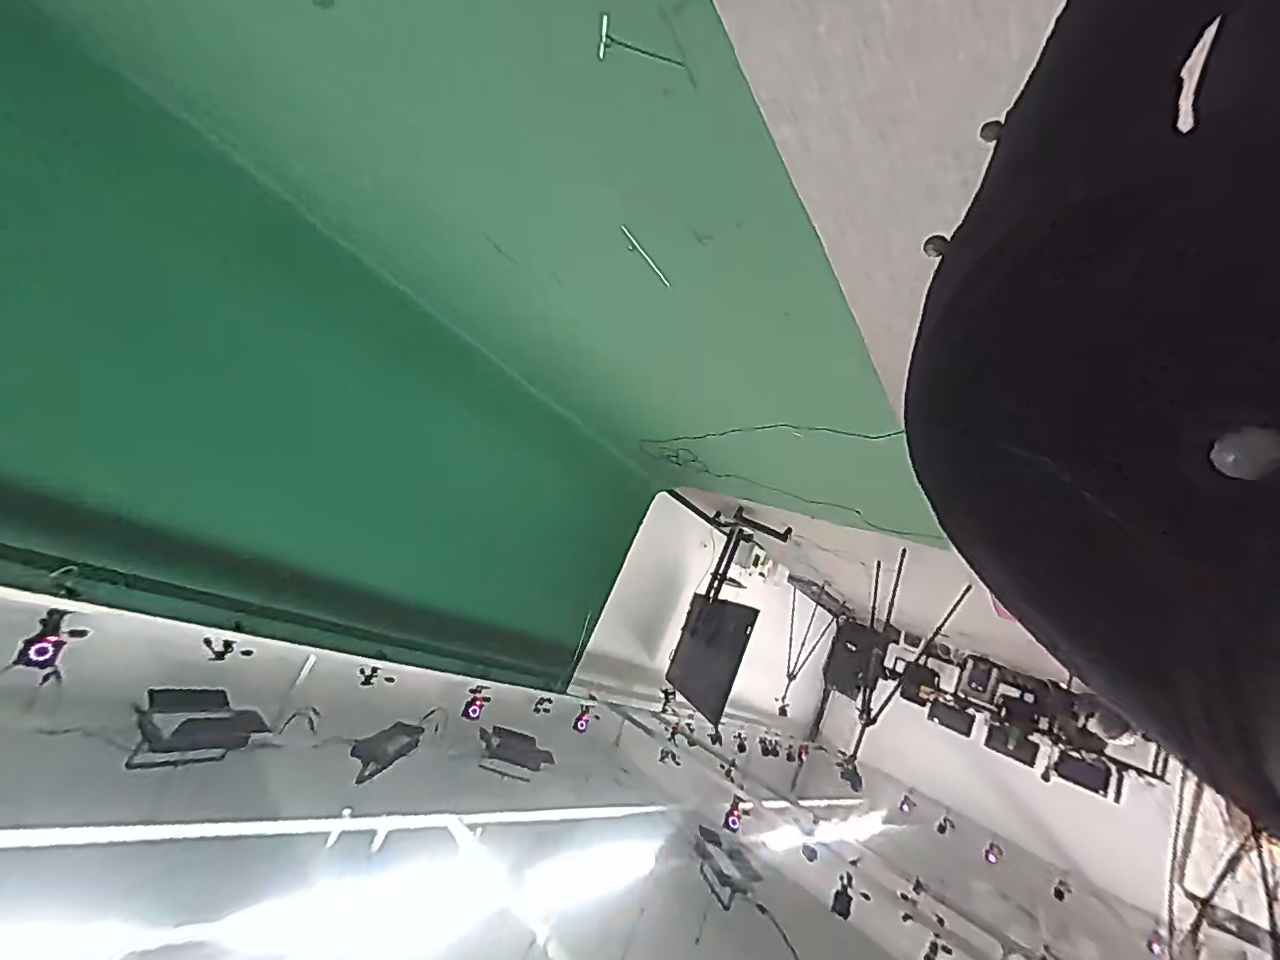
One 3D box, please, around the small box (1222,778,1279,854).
[{"bbox_3d":[1.921,1.024,1.618,0.179,0.176,0.168,19,168,23],"label":"small box"}]
